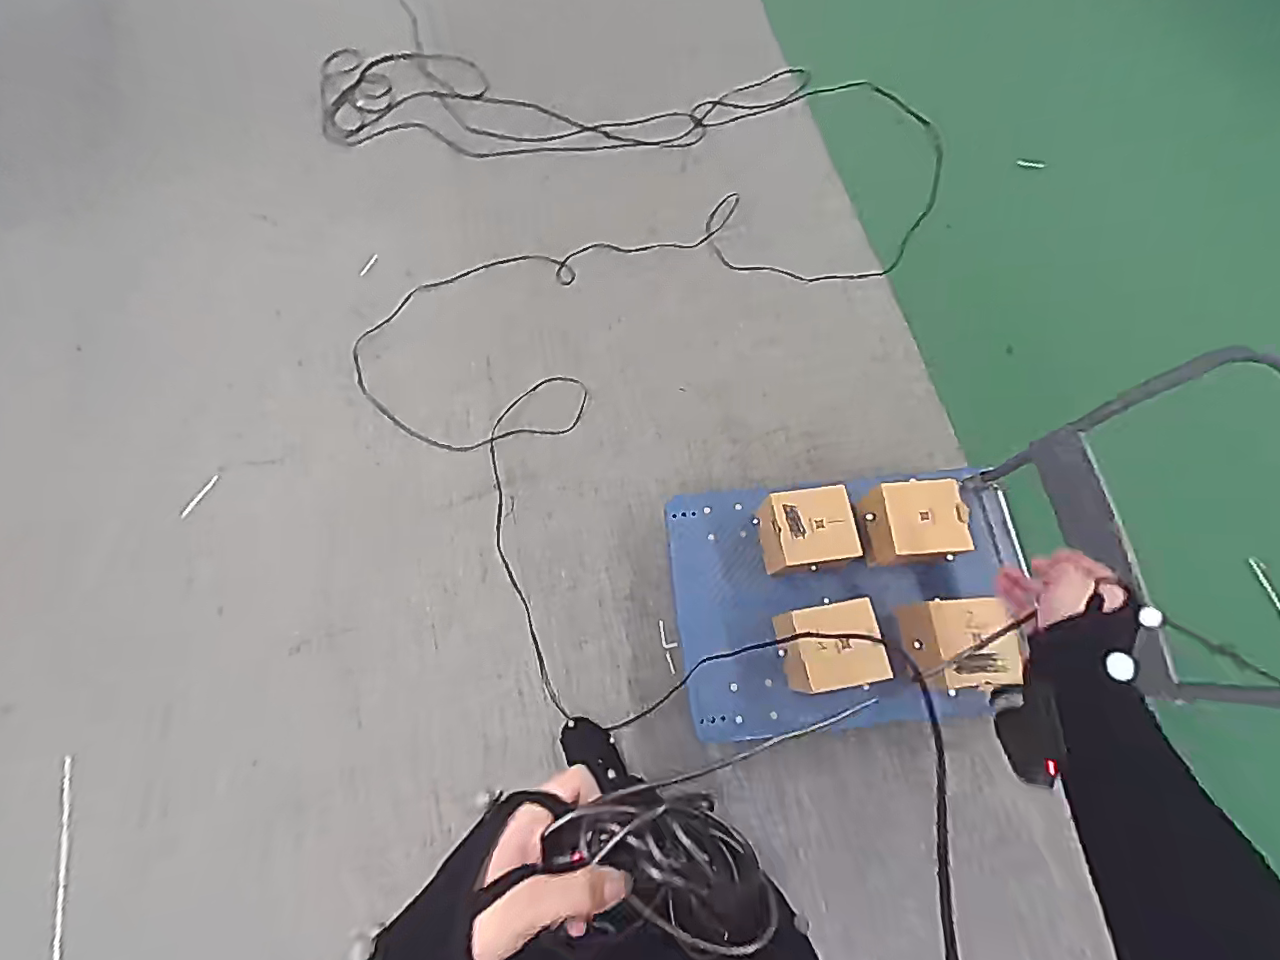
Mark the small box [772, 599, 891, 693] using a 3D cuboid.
[{"bbox_3d":[0.409,0.361,1.184,0.179,0.176,0.168,-9,72,-4],"label":"small box"}]

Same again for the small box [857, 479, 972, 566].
[{"bbox_3d":[0.629,0.105,1.270,0.179,0.176,0.168,-4,72,-2],"label":"small box"}]

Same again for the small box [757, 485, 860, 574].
[{"bbox_3d":[0.380,0.121,1.260,0.179,0.176,0.168,-7,73,-4],"label":"small box"}]
